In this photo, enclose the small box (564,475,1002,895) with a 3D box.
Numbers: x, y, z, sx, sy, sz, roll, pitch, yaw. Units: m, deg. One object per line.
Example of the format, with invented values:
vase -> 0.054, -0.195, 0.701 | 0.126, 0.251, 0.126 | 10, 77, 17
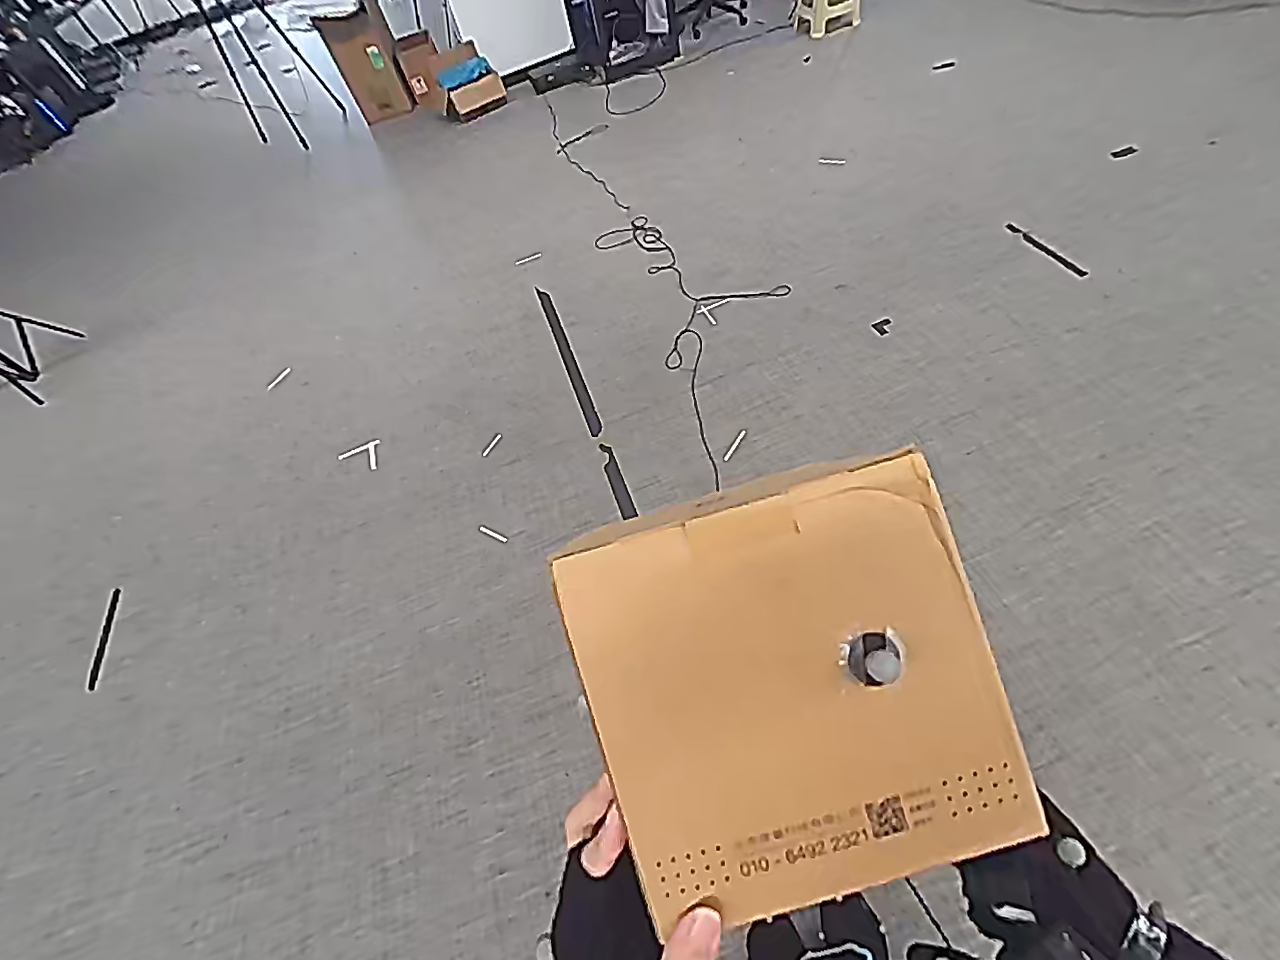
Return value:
small box -> 0.070, 0.103, 0.323 | 0.168, 0.179, 0.176 | -17, 88, 2
